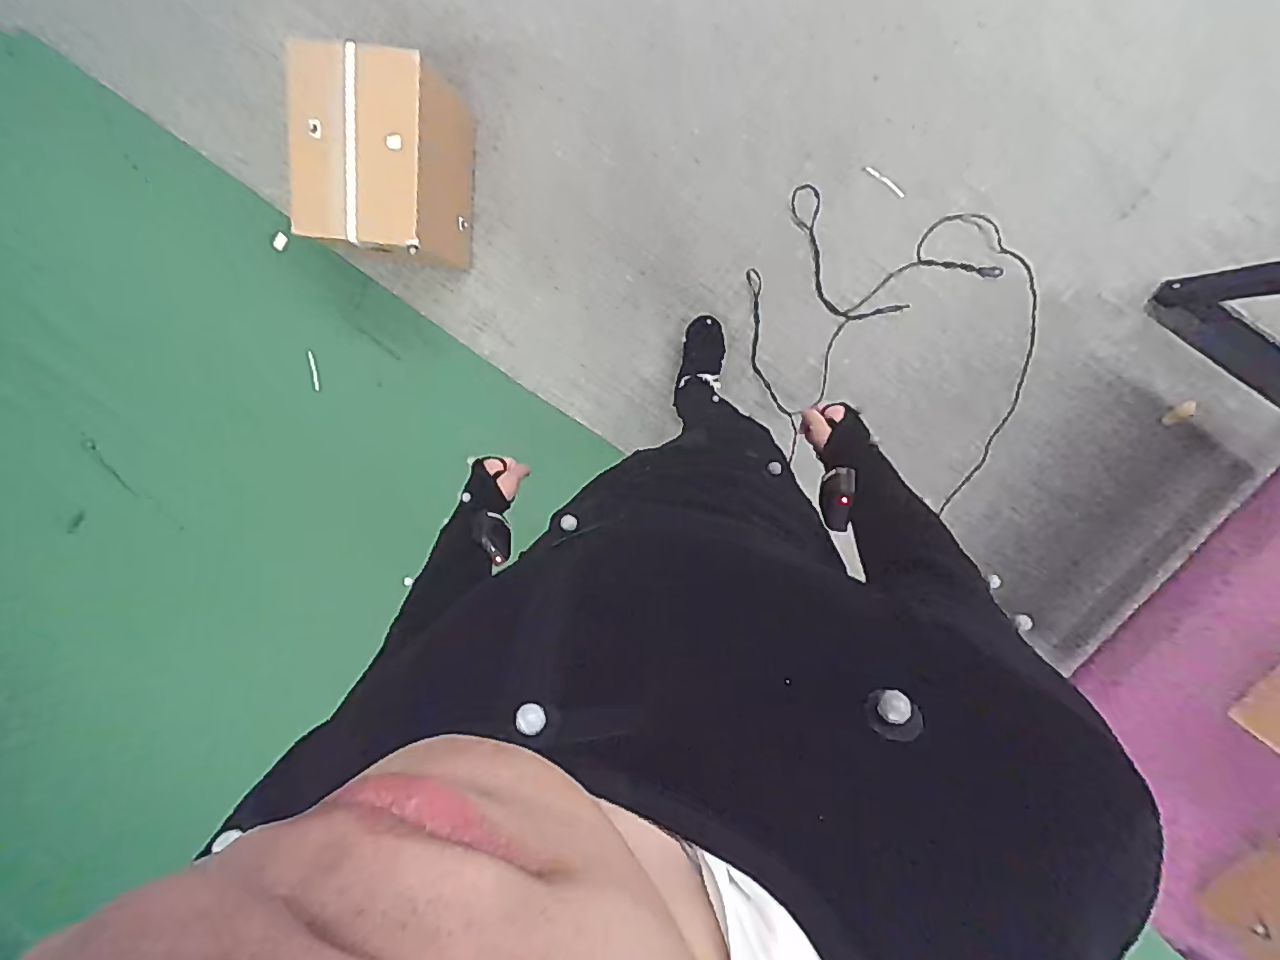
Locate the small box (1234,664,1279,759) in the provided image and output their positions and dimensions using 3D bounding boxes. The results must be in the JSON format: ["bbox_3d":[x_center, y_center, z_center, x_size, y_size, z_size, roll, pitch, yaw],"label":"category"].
[{"bbox_3d":[1.049,0.377,0.787,0.168,0.176,0.179,36,102,-3],"label":"small box"}]
